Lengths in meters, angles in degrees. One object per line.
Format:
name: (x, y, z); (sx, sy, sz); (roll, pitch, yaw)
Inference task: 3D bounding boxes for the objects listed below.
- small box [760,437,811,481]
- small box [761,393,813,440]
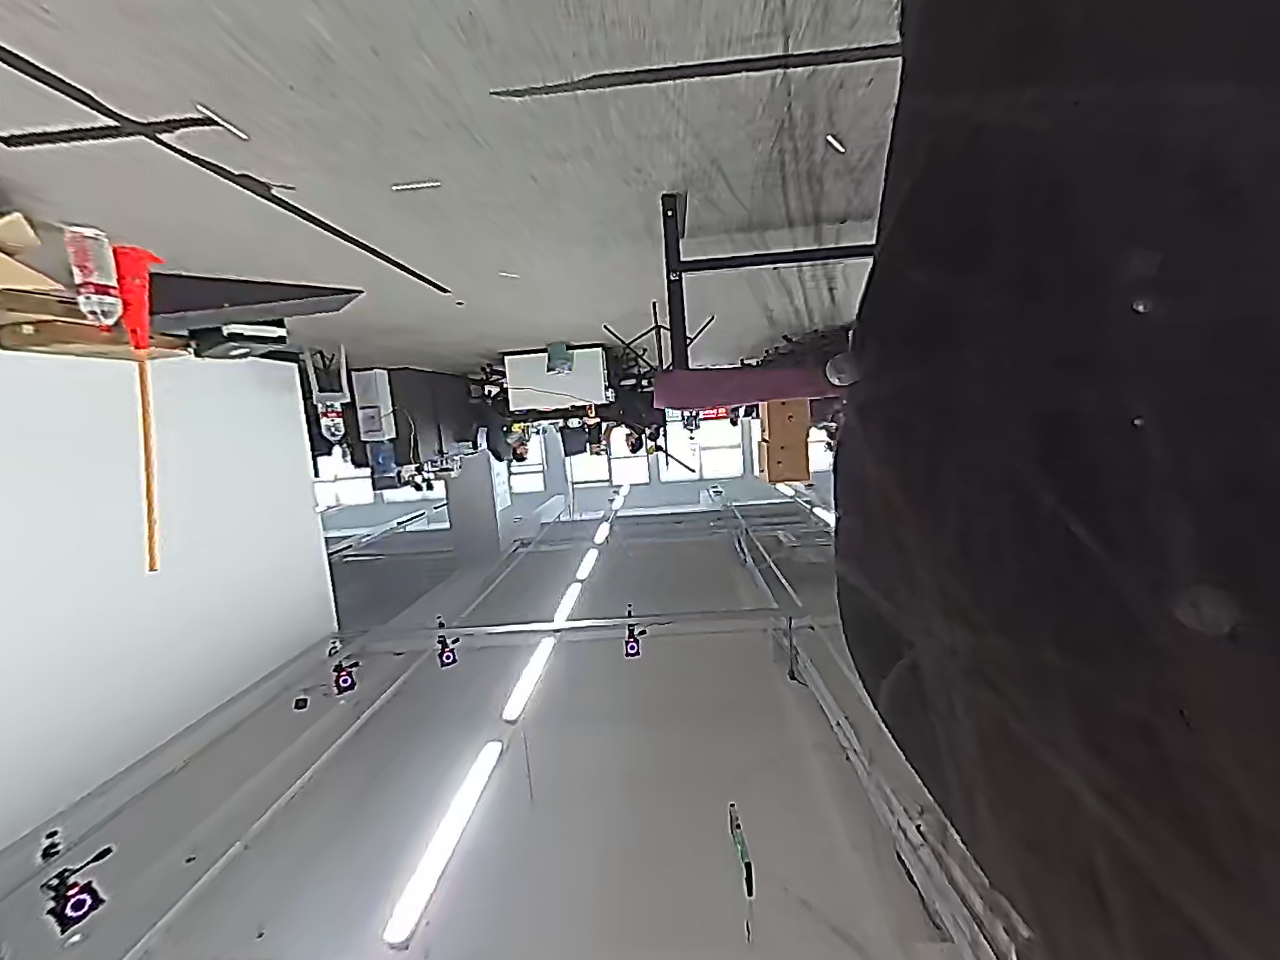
small box: (0.586, -0.096, 2.195); (0.168, 0.176, 0.179); (-4, -172, 1)
small box: (0.584, -0.257, 2.169); (0.168, 0.176, 0.179); (-4, -172, 3)
